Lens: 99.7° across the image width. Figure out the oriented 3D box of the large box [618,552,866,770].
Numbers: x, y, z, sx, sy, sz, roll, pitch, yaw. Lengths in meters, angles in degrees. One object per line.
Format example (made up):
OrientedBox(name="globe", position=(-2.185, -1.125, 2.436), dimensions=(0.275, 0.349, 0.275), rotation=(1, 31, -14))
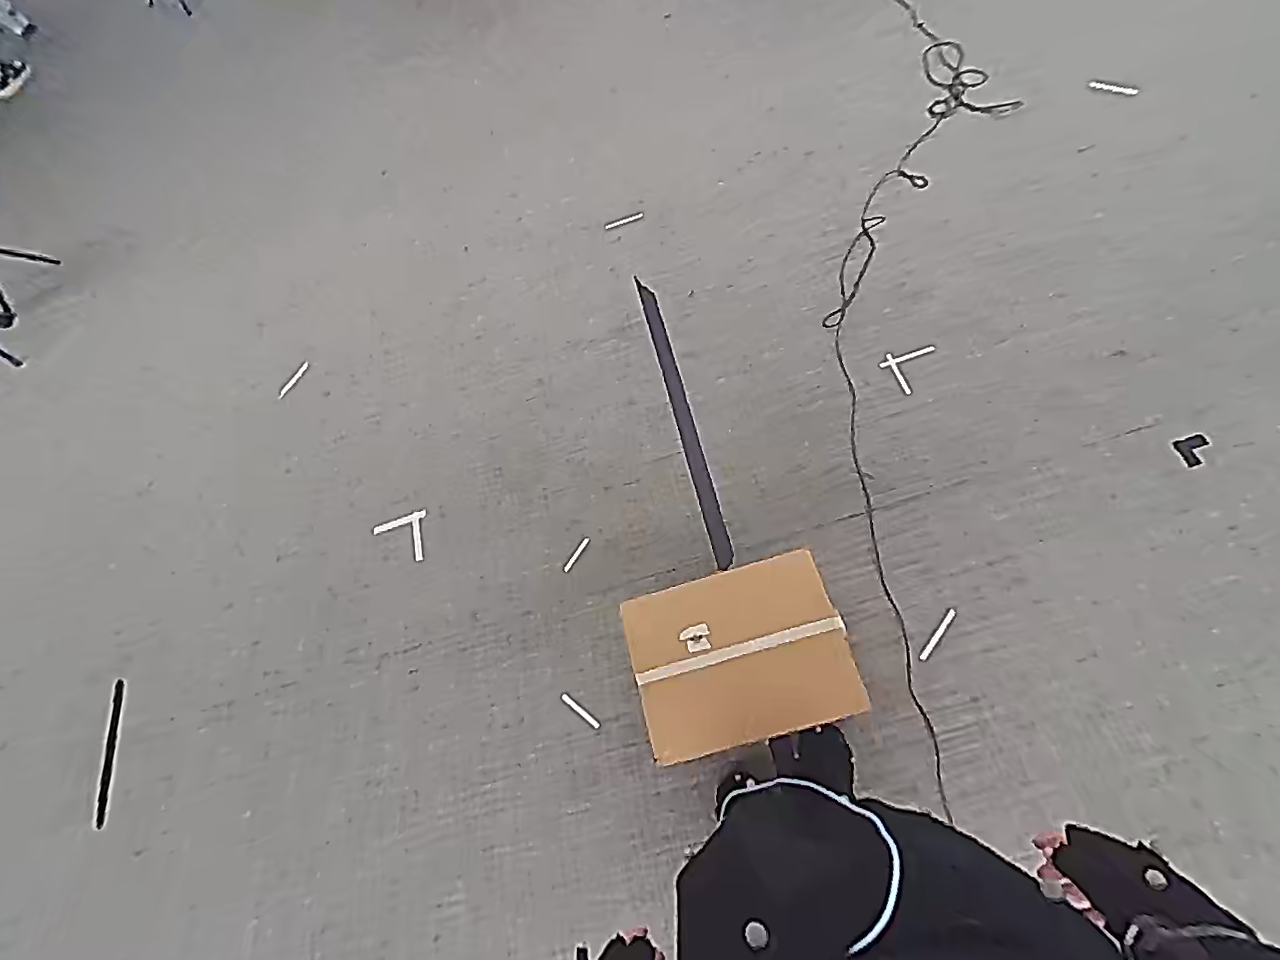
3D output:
OrientedBox(name="large box", position=(0.211, 0.391, 1.166), dimensions=(0.408, 0.320, 0.320), rotation=(-18, 64, 6))
